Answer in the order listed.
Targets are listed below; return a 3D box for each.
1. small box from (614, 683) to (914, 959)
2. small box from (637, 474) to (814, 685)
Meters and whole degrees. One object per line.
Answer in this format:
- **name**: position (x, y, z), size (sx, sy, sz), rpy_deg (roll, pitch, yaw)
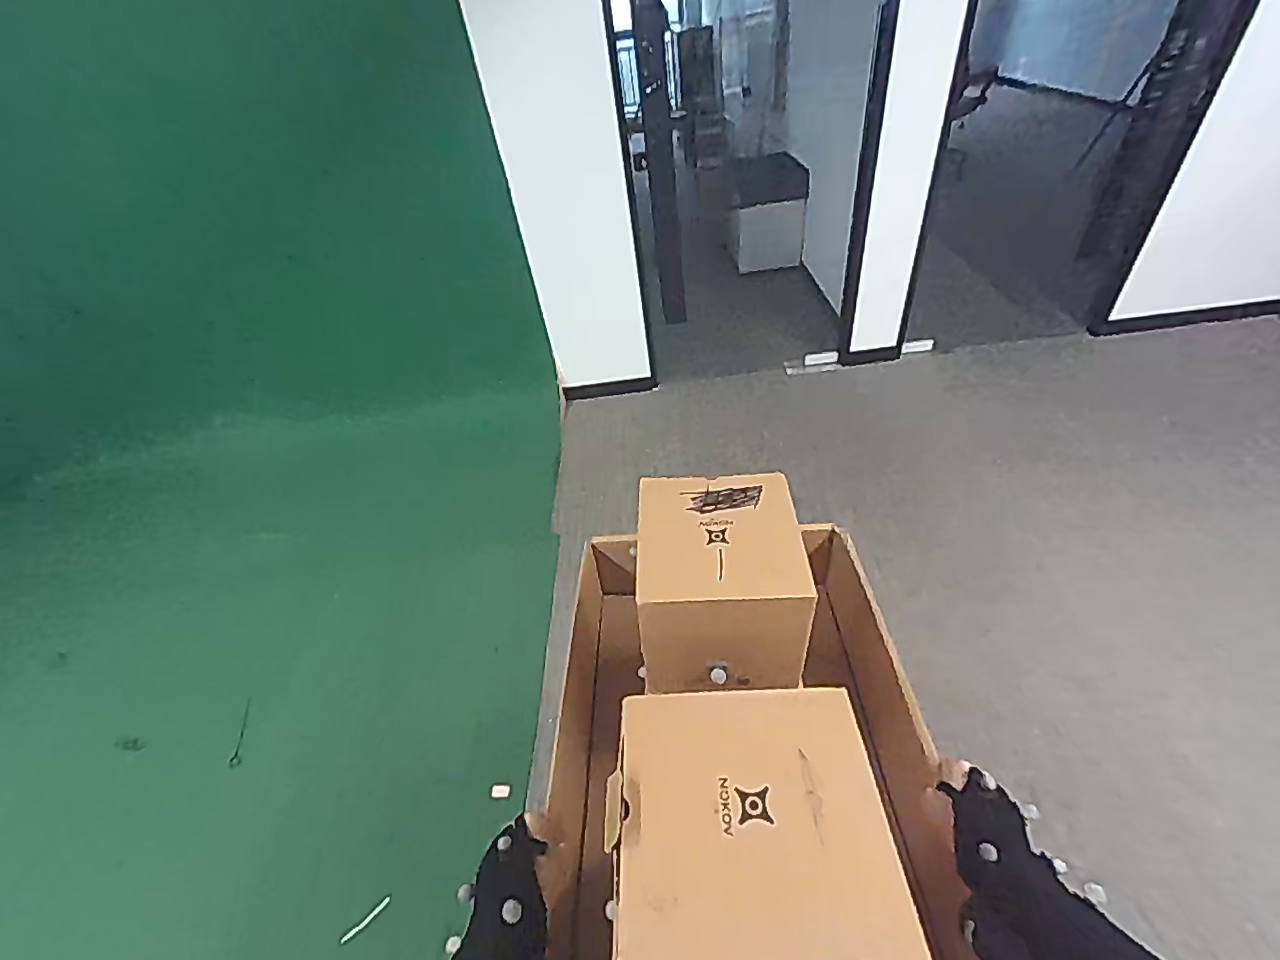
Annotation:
- **small box**: position (0.078, 0.279, 0.422), size (0.179, 0.176, 0.168), rpy_deg (-2, 40, 2)
- **small box**: position (0.087, 0.111, 0.613), size (0.168, 0.176, 0.179), rpy_deg (-2, 42, 4)
